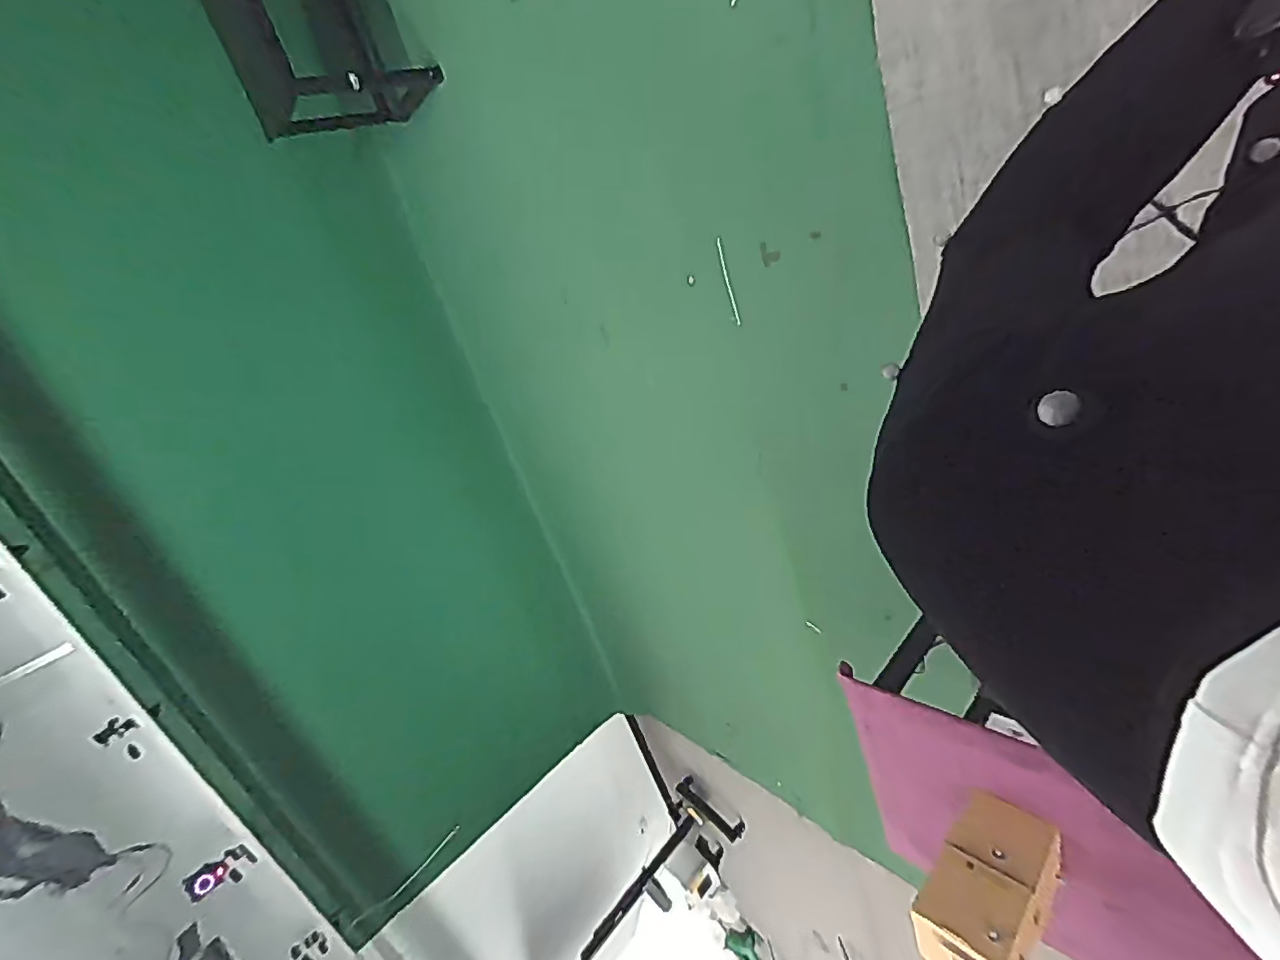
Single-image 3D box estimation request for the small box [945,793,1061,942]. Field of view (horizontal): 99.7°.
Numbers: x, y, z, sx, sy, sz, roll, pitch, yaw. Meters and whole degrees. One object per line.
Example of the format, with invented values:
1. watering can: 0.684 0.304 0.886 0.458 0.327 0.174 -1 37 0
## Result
1. small box: 0.805 0.839 1.193 0.179 0.176 0.168 9 124 50
